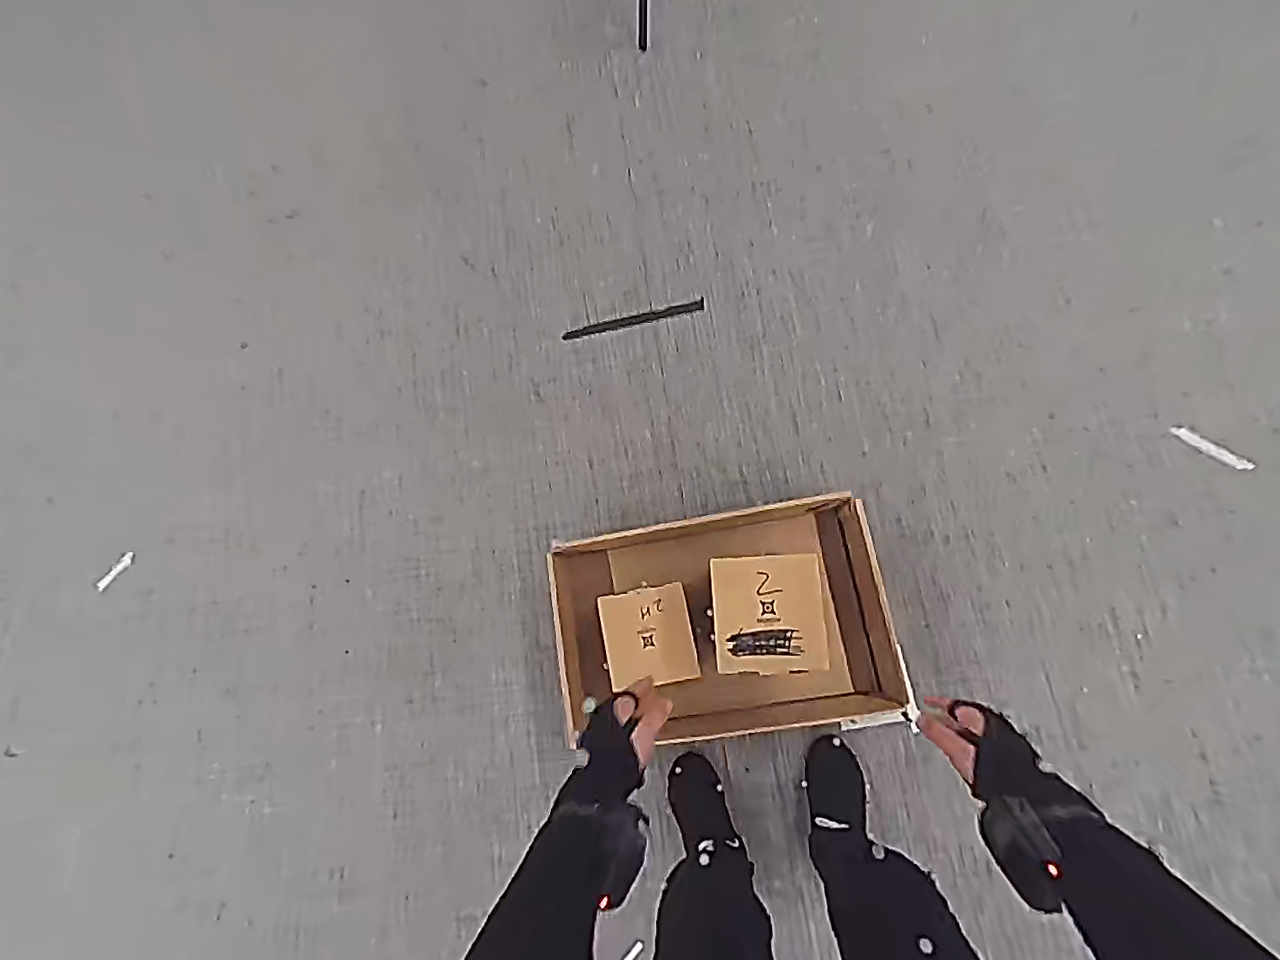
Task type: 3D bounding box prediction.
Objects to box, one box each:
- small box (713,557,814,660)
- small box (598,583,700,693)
[{"bbox_3d":[0.233,0.247,1.051,0.168,0.176,0.179,-6,79,10],"label":"small box"},{"bbox_3d":[0.024,0.303,1.068,0.168,0.176,0.179,-12,77,3],"label":"small box"}]
